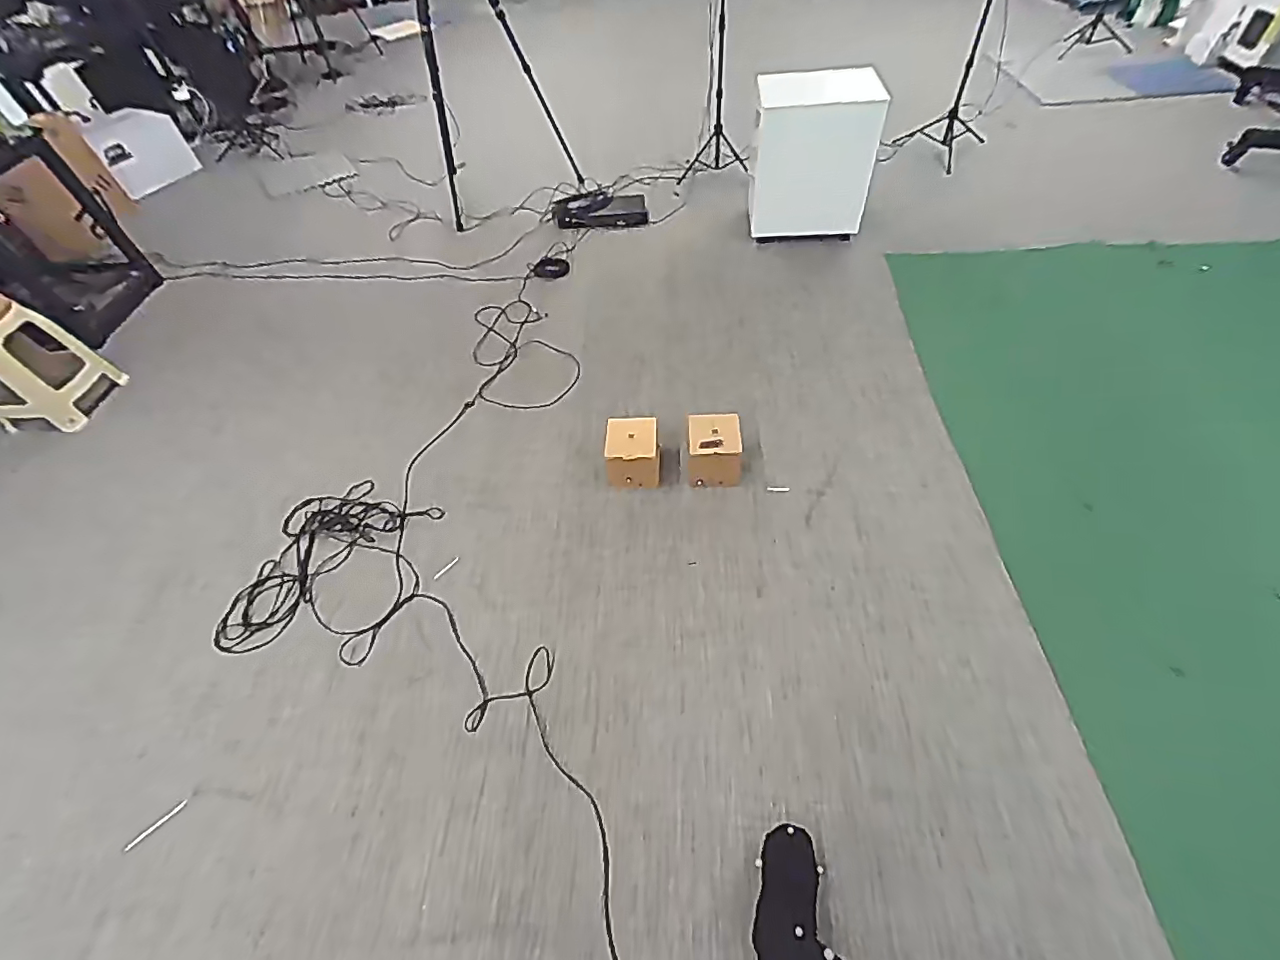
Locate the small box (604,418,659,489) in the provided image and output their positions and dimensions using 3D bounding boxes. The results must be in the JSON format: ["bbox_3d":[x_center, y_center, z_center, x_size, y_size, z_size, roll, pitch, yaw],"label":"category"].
[{"bbox_3d":[-0.023,-0.090,1.829,0.168,0.176,0.179,-1,52,6],"label":"small box"}]

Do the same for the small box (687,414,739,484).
[{"bbox_3d":[0.242,-0.099,1.806,0.168,0.176,0.179,-1,51,5],"label":"small box"}]
